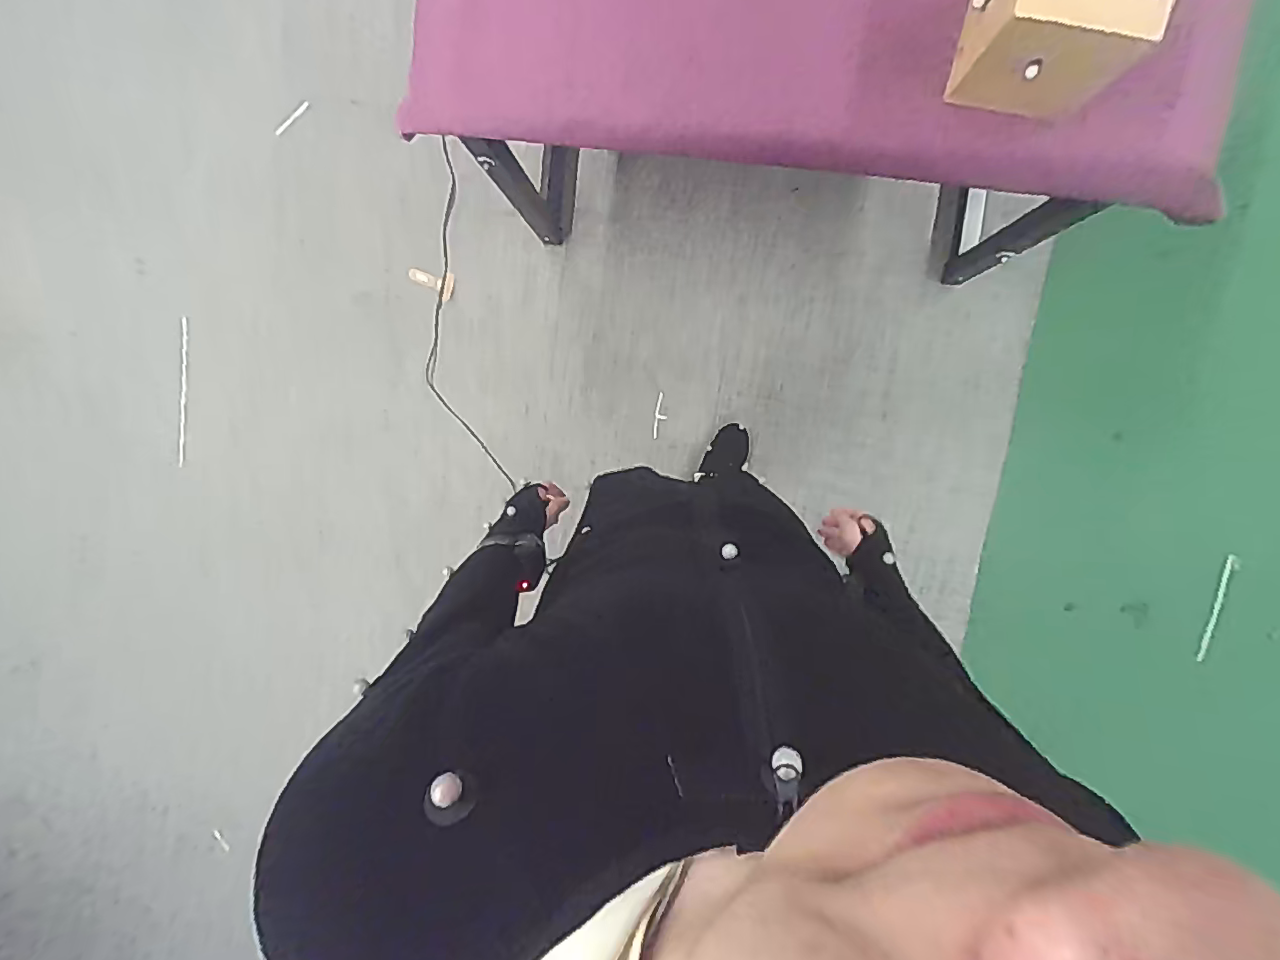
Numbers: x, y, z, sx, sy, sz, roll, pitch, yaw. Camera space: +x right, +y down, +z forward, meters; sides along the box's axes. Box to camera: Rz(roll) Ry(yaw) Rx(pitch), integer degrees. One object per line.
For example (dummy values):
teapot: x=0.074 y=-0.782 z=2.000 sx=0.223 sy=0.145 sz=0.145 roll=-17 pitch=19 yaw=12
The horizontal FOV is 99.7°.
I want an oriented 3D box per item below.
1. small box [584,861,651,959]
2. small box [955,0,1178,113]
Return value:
small box: x=-0.066 y=1.342 z=1.693 sx=0.179 sy=0.176 sz=0.168 roll=9 pitch=98 yaw=3
small box: x=0.543 y=-0.611 z=0.692 sx=0.179 sy=0.176 sz=0.168 roll=14 pitch=96 yaw=4
